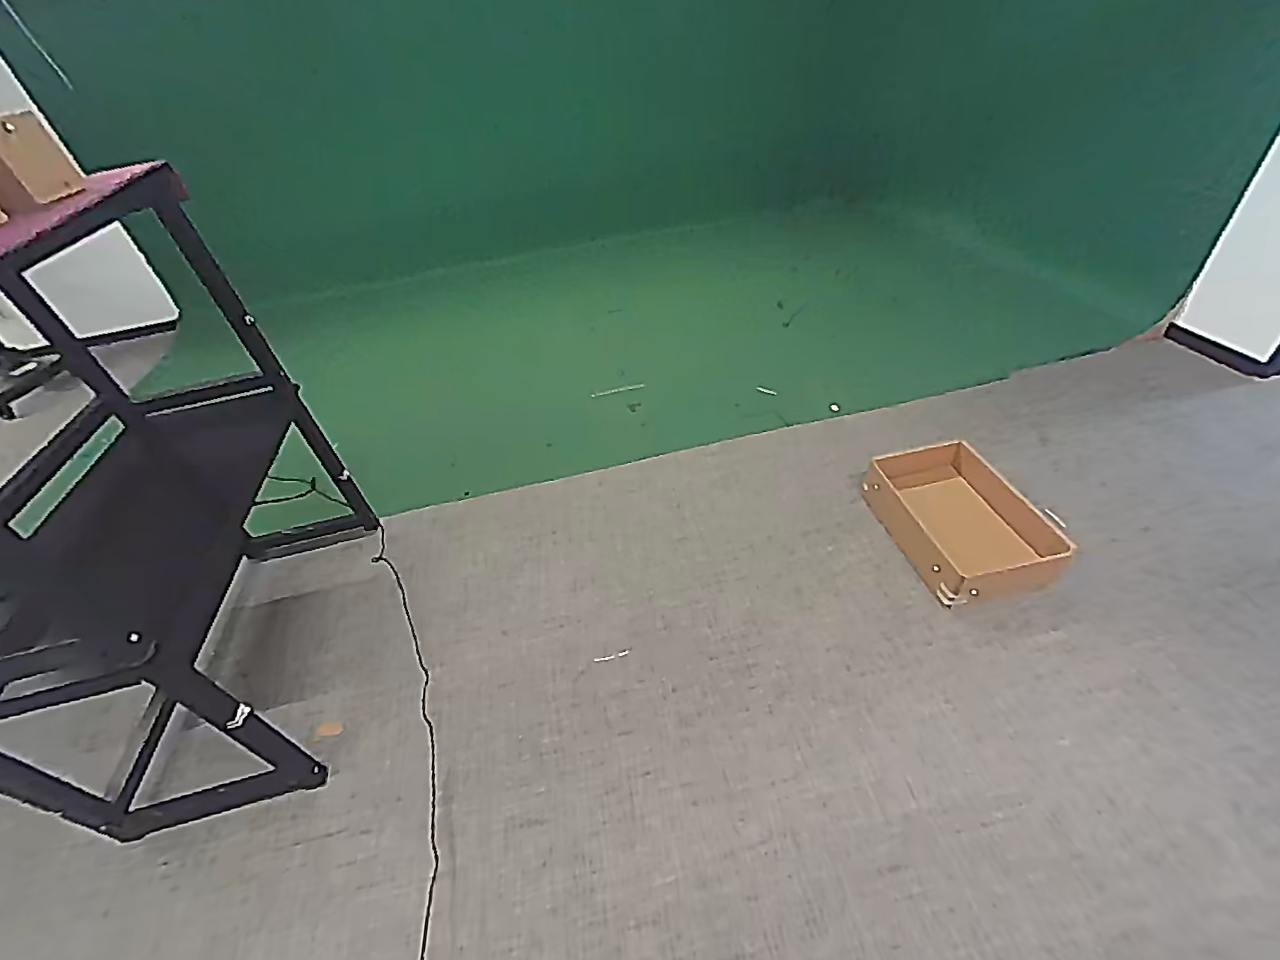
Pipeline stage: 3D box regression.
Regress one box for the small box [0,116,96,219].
[{"bbox_3d":[-1.454,-0.716,1.251,0.179,0.176,0.168,-9,43,3],"label":"small box"}]
